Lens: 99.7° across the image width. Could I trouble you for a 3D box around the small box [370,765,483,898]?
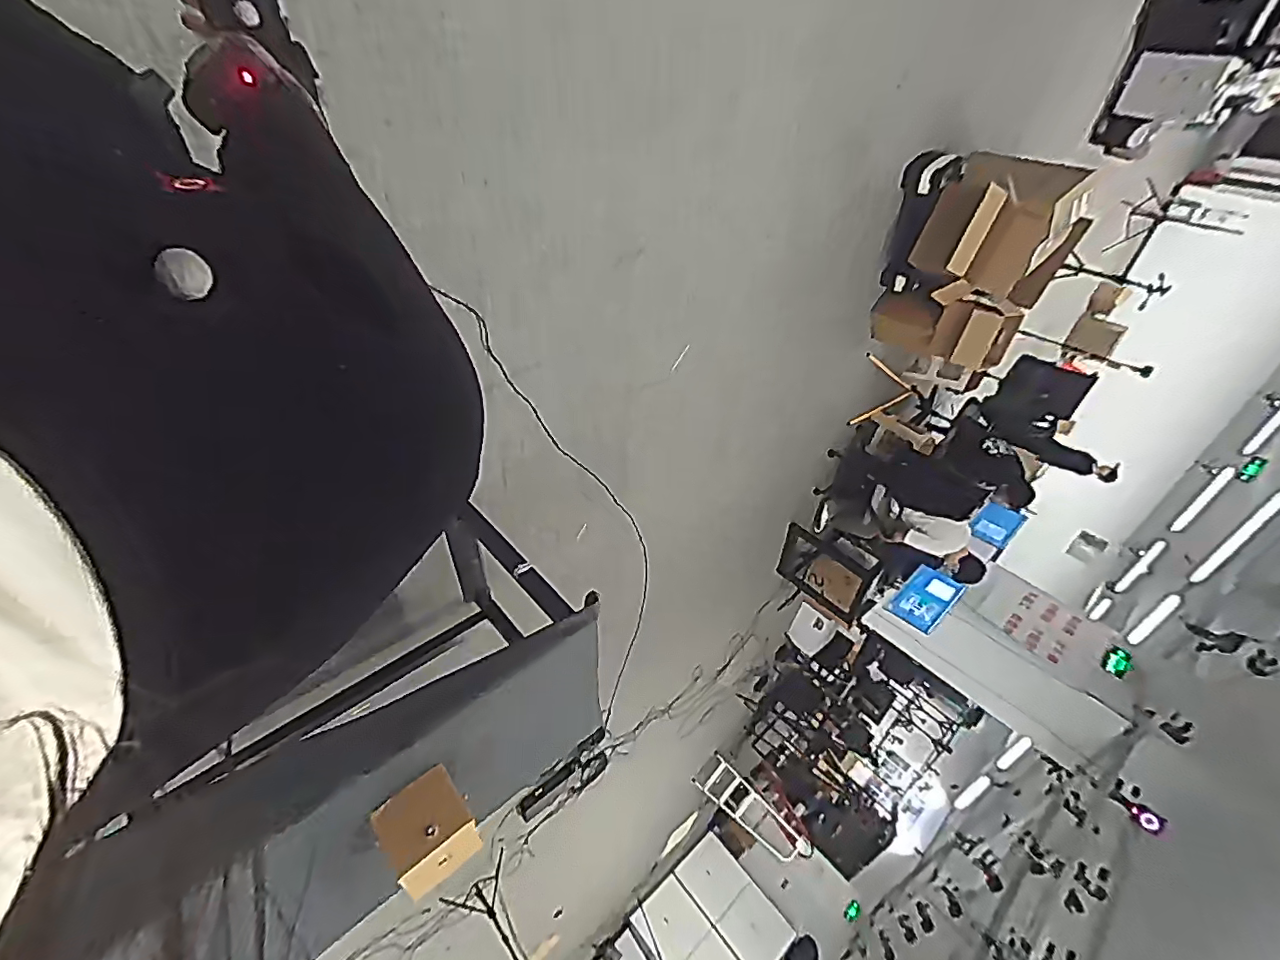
[{"bbox_3d":[-0.495,0.810,1.259,0.179,0.176,0.168,-28,138,-31],"label":"small box"}]
